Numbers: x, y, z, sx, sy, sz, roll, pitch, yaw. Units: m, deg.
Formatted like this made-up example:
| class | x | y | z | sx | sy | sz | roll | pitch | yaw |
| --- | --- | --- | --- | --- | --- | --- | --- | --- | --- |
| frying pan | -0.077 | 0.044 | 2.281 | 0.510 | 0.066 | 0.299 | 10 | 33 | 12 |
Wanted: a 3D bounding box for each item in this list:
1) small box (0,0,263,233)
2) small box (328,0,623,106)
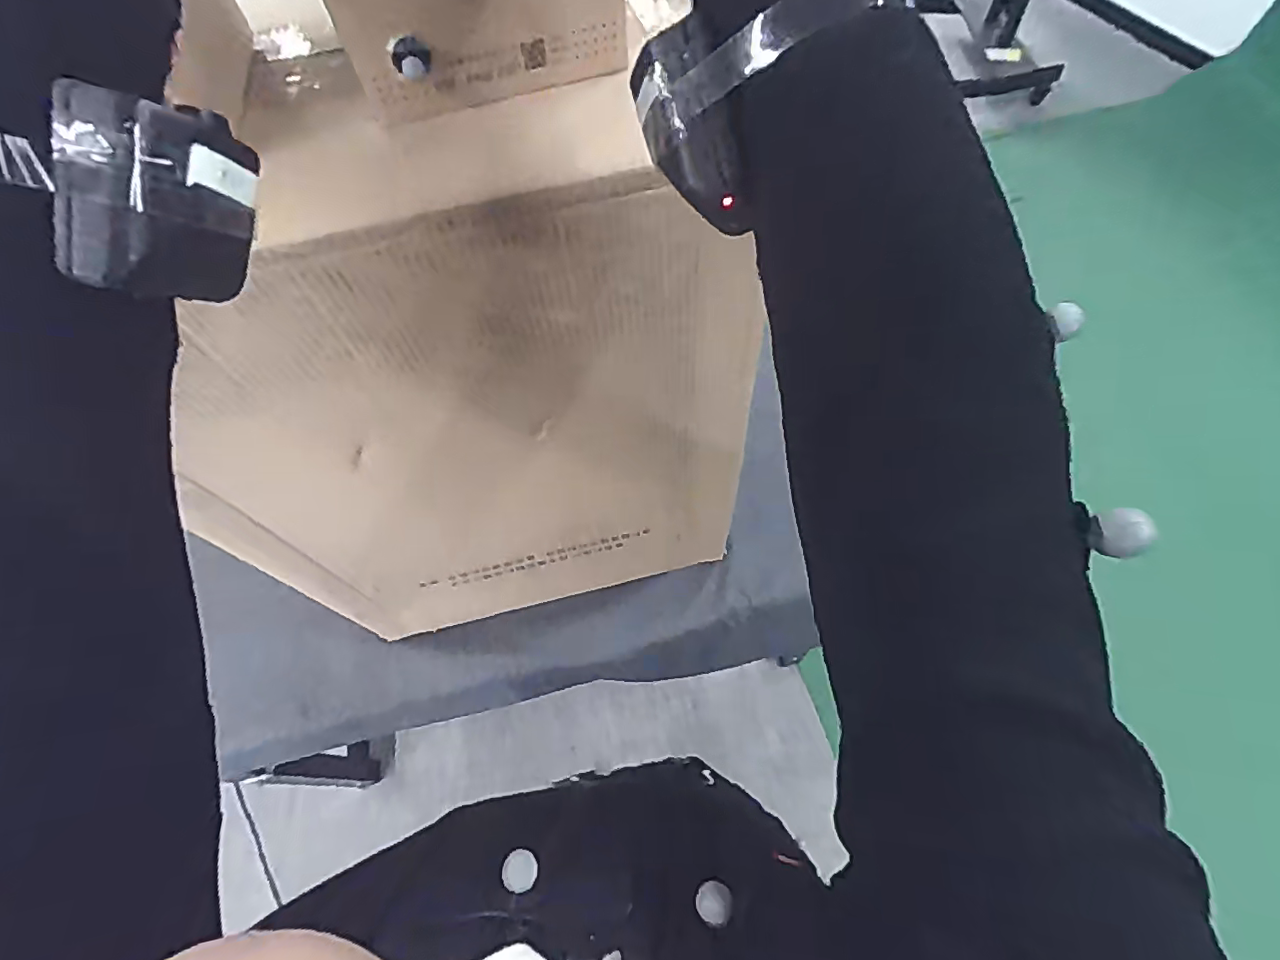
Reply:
| class | x | y | z | sx | sy | sz | roll | pitch | yaw |
| --- | --- | --- | --- | --- | --- | --- | --- | --- | --- |
| small box | -0.344 | -0.273 | 0.294 | 0.168 | 0.176 | 0.179 | -16 | 63 | -2 |
| small box | -0.116 | -0.351 | 0.314 | 0.168 | 0.176 | 0.179 | -19 | 61 | -6 |
